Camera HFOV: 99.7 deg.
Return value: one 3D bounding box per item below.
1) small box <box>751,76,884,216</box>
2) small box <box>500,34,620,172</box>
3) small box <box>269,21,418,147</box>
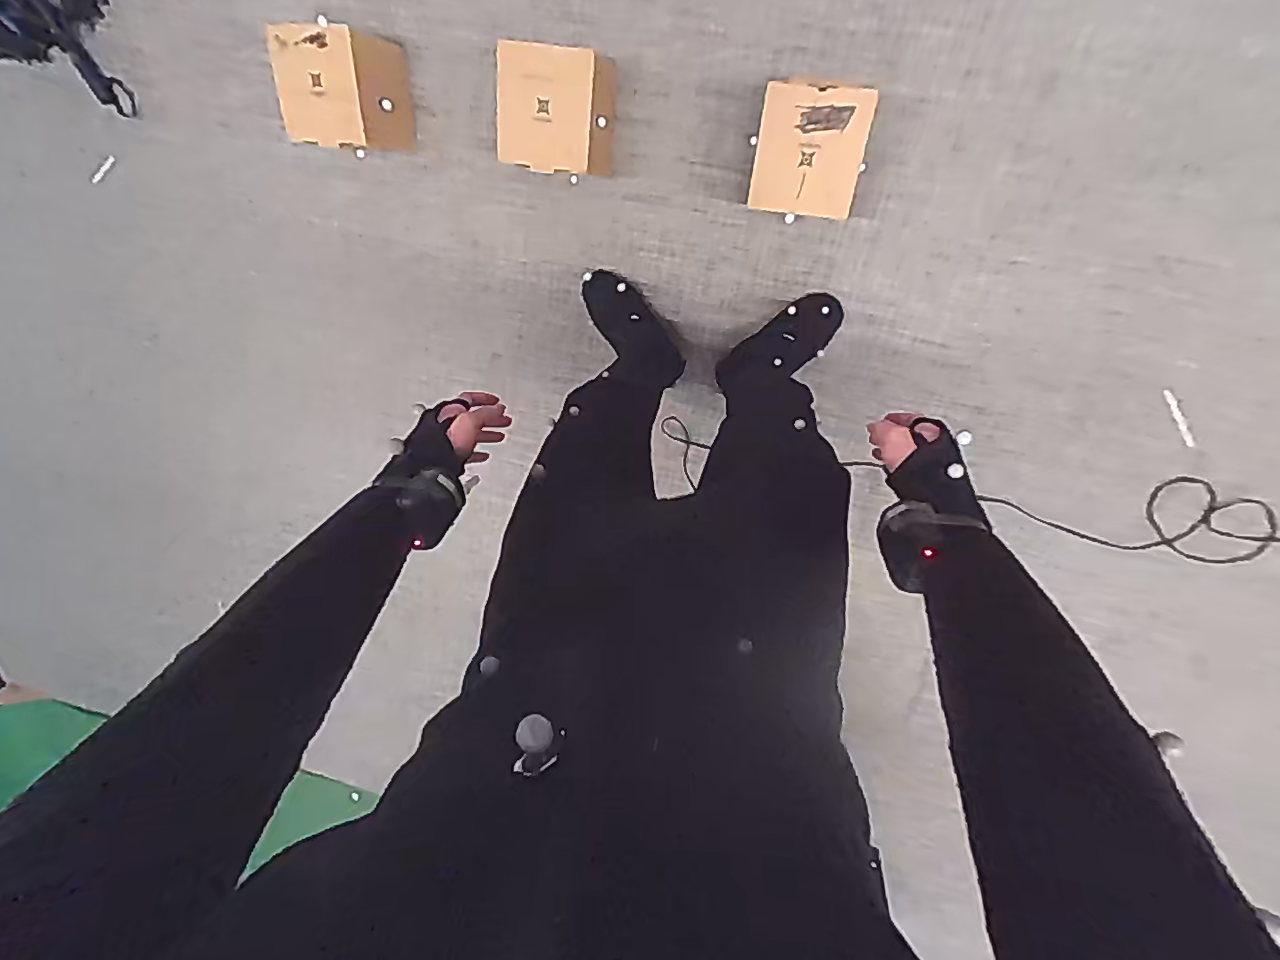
[{"bbox_3d":[0.287,-0.551,0.907,0.168,0.176,0.179,11,120,9],"label":"small box"},{"bbox_3d":[-0.138,-0.657,0.963,0.168,0.176,0.179,11,119,7],"label":"small box"},{"bbox_3d":[-0.543,-0.736,1.020,0.168,0.176,0.179,9,120,9],"label":"small box"}]
